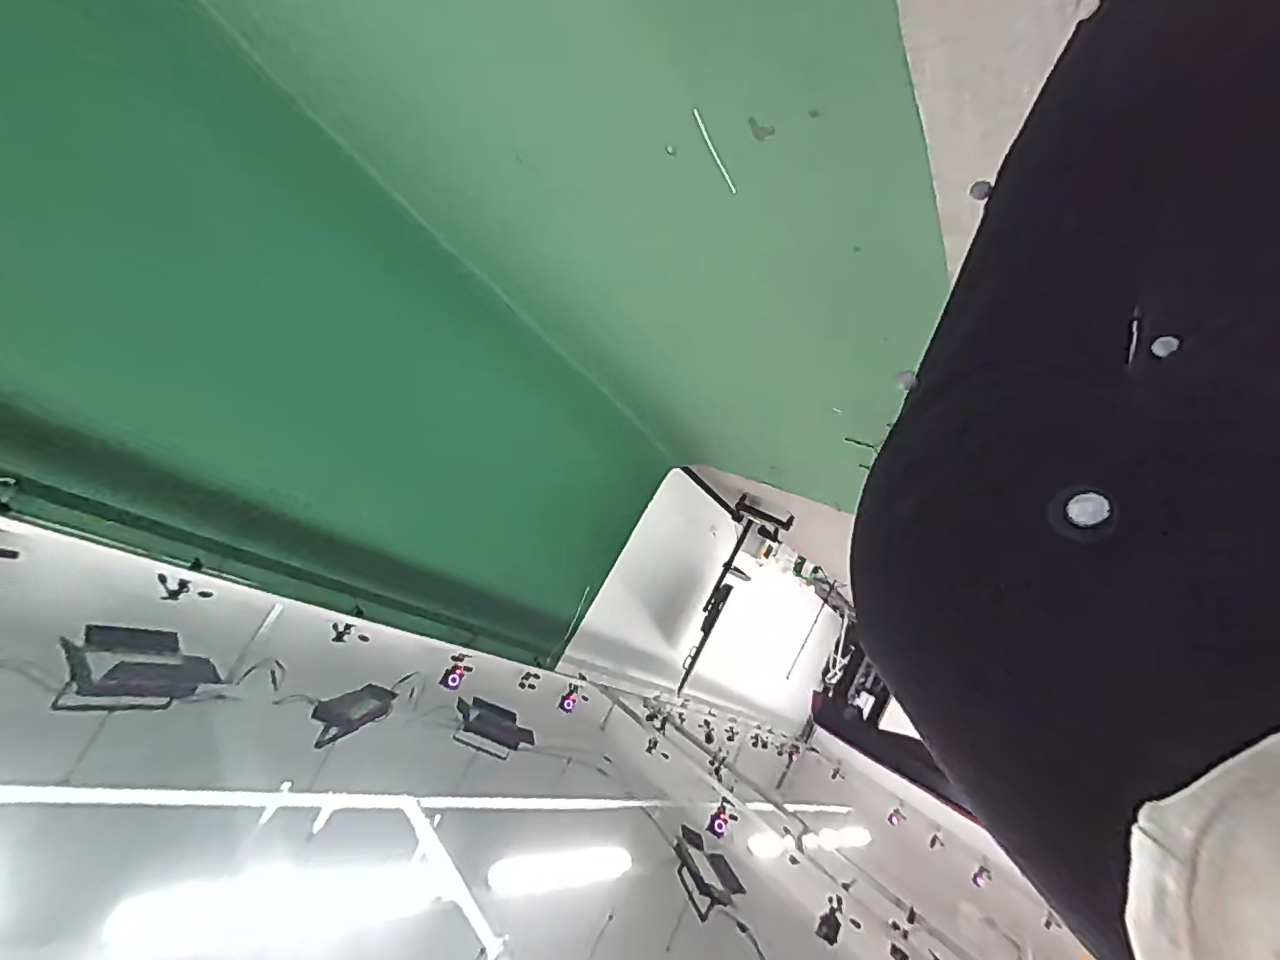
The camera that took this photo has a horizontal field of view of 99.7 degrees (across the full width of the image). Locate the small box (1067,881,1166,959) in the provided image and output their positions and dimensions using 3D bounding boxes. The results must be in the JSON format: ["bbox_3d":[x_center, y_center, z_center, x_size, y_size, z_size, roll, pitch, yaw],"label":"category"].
[{"bbox_3d":[1.304,1.244,1.484,0.168,0.176,0.179,21,168,44],"label":"small box"}]
